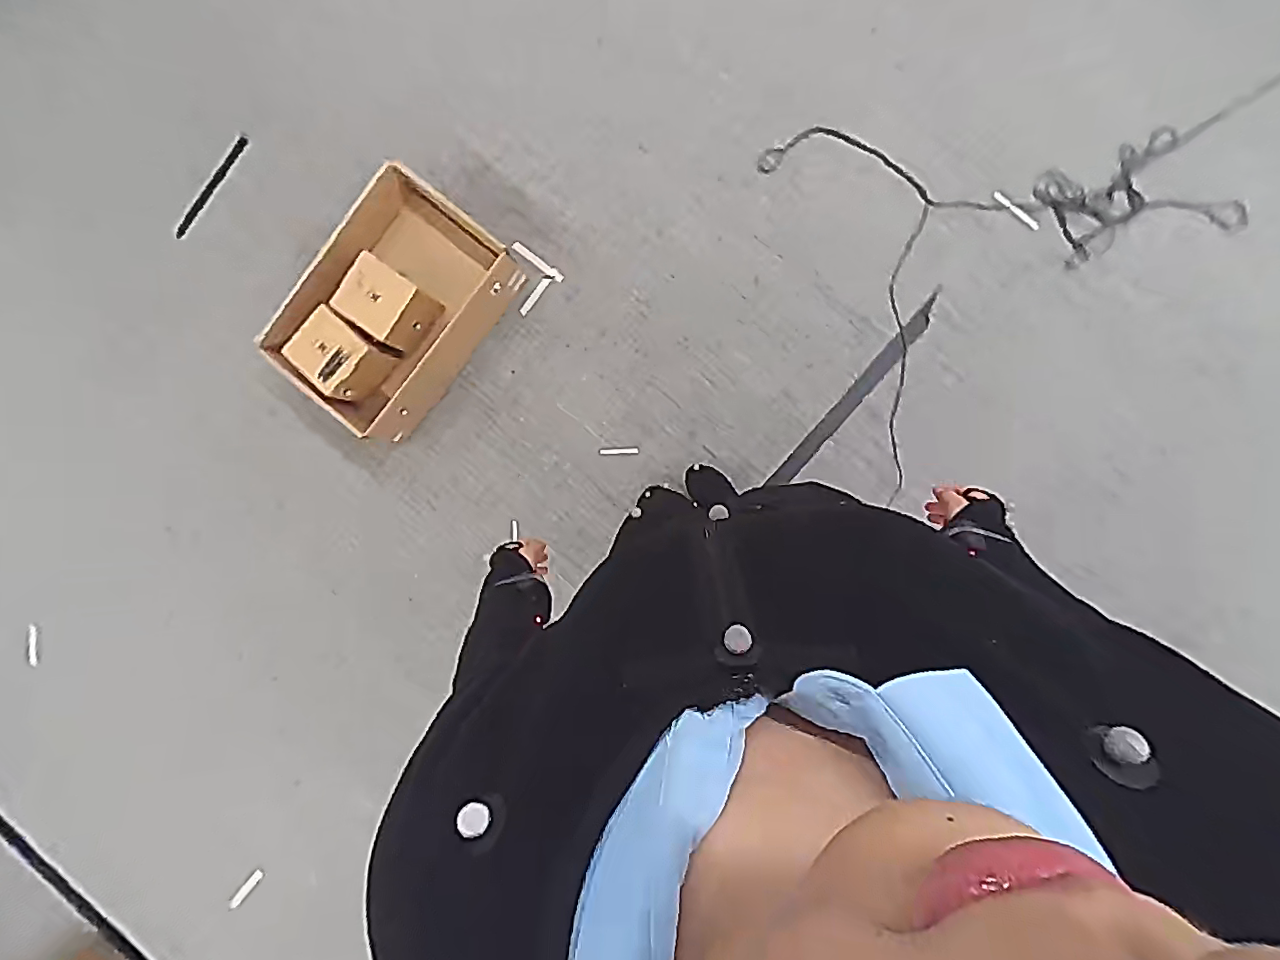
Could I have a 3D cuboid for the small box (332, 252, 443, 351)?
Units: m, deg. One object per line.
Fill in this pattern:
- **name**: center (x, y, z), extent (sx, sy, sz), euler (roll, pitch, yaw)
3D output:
- **small box**: center (-0.660, -0.462, 1.438), extent (0.179, 0.176, 0.168), euler (35, 93, 3)
